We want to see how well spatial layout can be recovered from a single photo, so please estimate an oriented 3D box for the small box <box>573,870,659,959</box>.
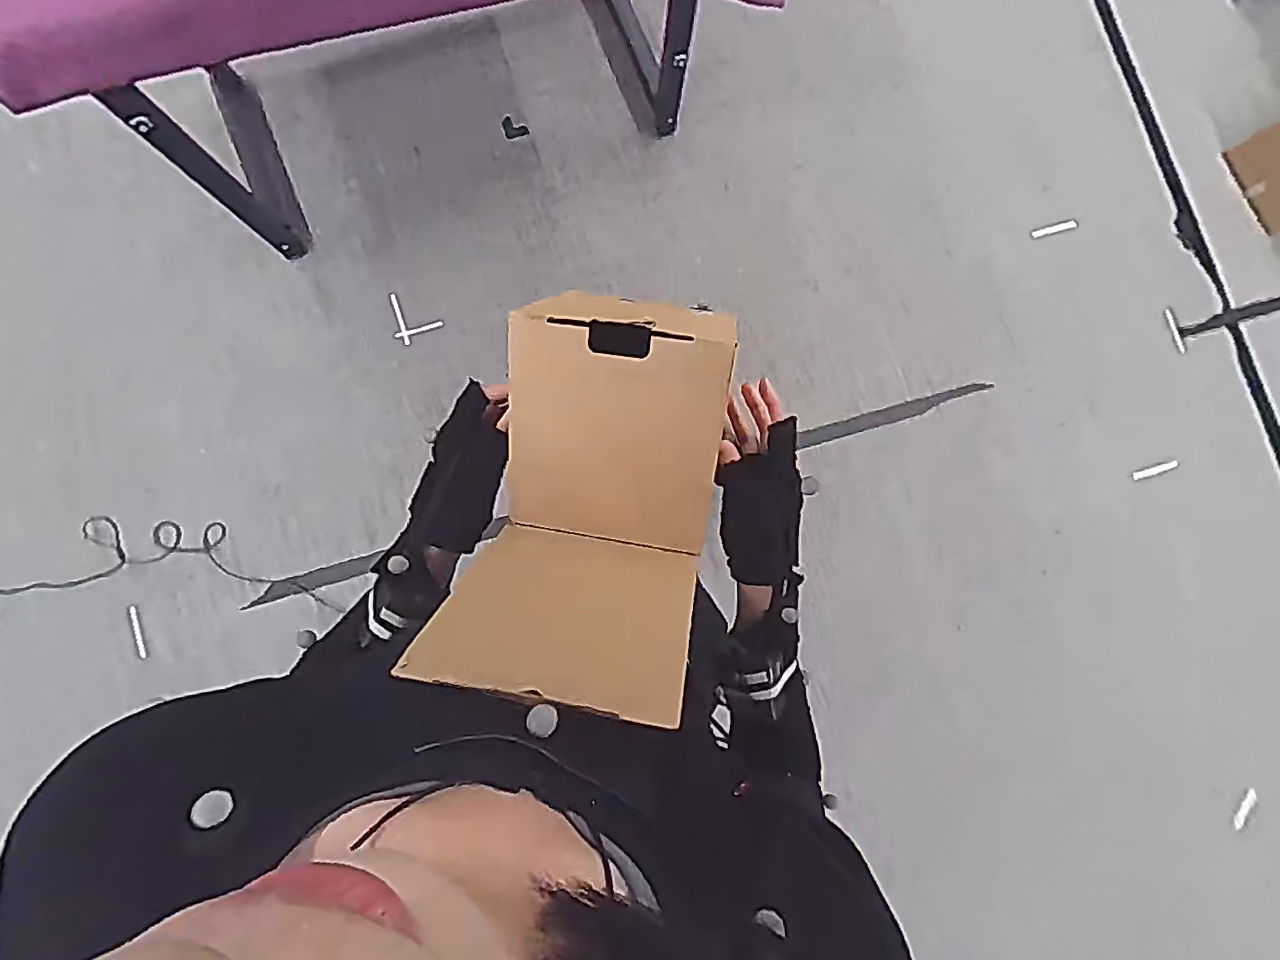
[{"bbox_3d":[-0.060,1.103,1.319,0.179,0.176,0.168,-16,85,-7],"label":"small box"}]
